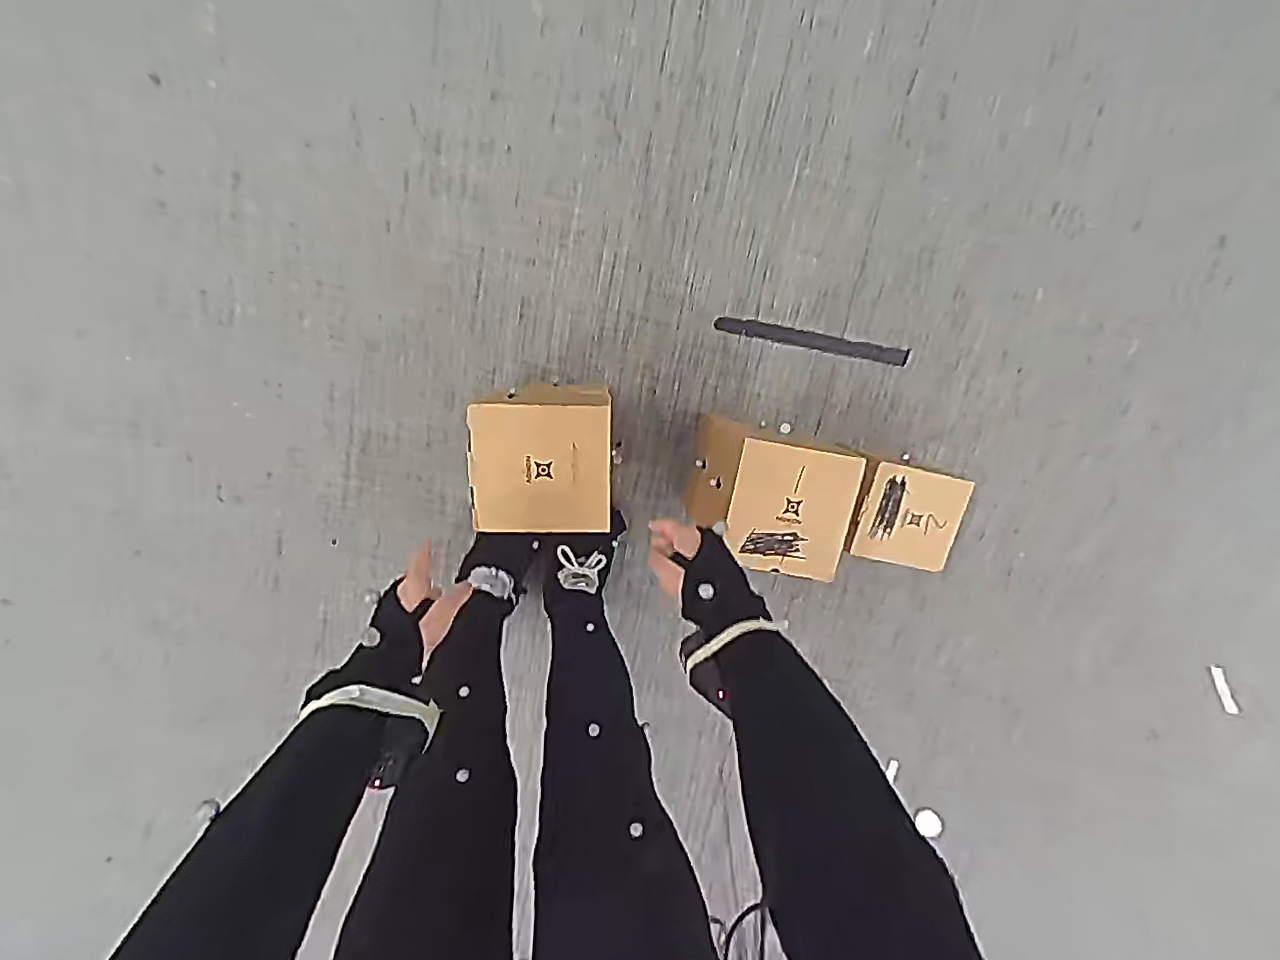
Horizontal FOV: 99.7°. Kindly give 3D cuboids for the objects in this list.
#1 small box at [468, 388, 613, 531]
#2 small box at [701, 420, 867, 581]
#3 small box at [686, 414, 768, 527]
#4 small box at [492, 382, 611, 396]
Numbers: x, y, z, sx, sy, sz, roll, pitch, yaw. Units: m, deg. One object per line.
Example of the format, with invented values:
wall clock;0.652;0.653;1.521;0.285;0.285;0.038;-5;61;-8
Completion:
small box;-0.126;-0.035;0.748;0.179;0.176;0.168;-1;106;-4
small box;0.191;0.022;0.778;0.168;0.176;0.179;9;103;-6
small box;0.184;-0.009;0.940;0.168;0.176;0.179;13;104;-6
small box;-0.138;-0.075;0.906;0.179;0.176;0.168;-1;105;-2
